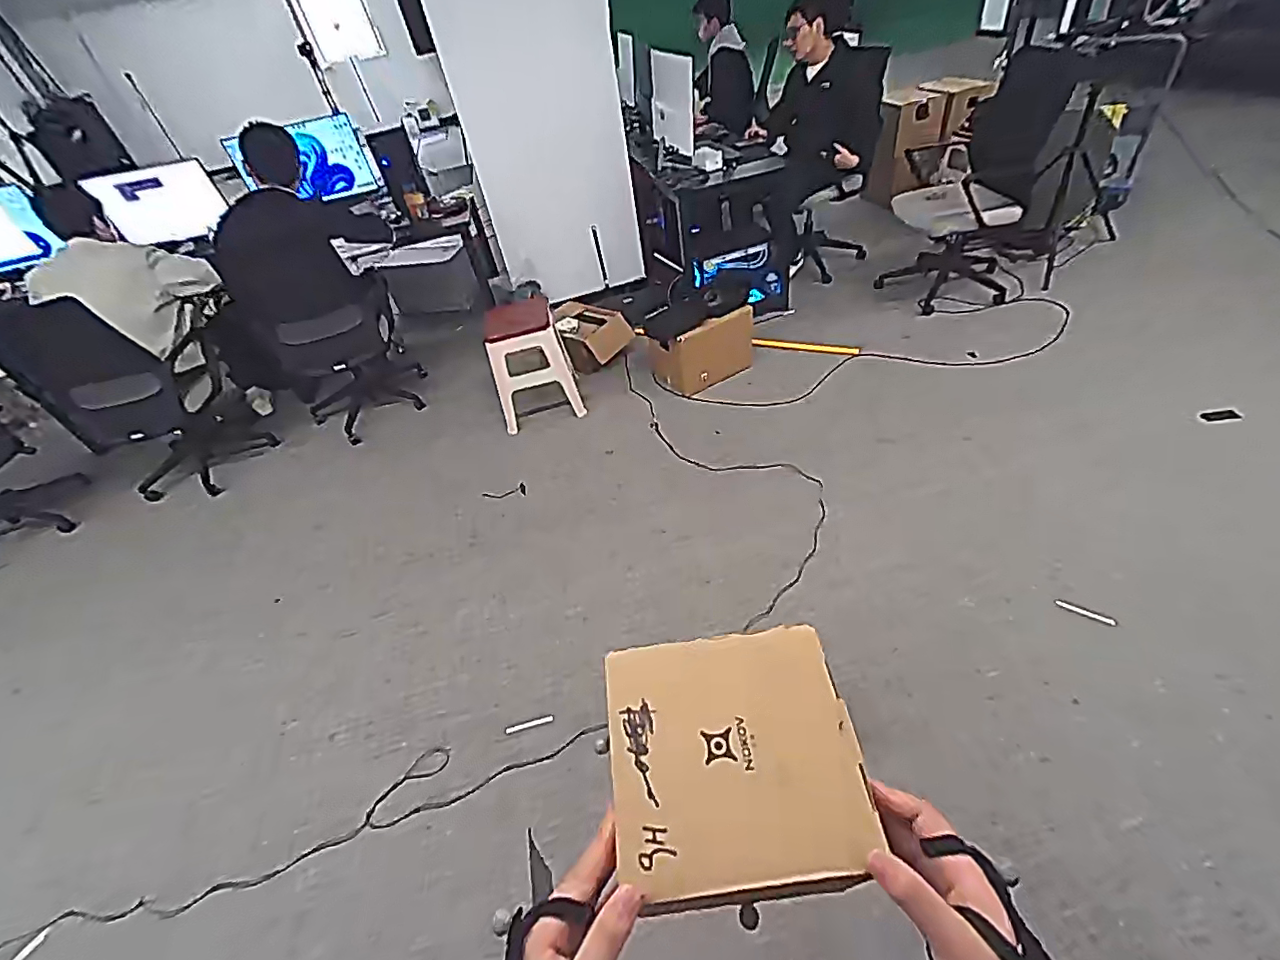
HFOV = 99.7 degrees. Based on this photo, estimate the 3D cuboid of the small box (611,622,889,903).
[{"bbox_3d":[0.072,0.240,0.455,0.179,0.176,0.168,-7,48,-1],"label":"small box"}]
